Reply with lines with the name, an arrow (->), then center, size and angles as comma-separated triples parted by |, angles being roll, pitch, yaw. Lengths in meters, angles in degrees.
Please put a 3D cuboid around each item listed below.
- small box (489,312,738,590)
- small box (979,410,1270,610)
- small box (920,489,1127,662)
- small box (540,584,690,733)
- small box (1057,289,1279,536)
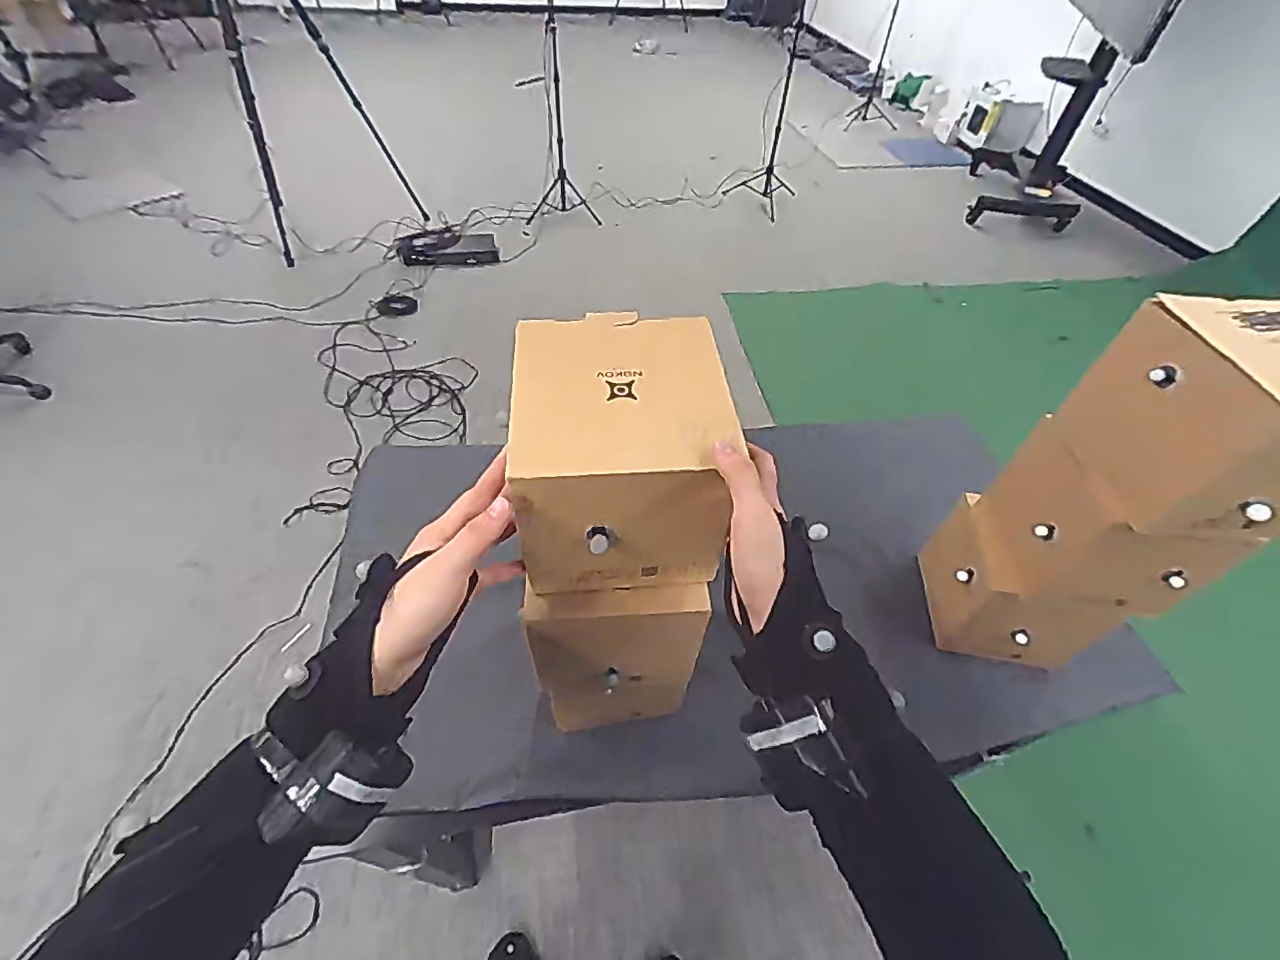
small box -> -0.025, -0.018, 0.459 | 0.168, 0.176, 0.179 | -4, 52, -5
small box -> 0.560, 0.040, 0.660 | 0.168, 0.176, 0.179 | 6, 47, 1
small box -> 0.534, 0.141, 0.785 | 0.168, 0.176, 0.179 | 9, 47, 5
small box -> -0.041, 0.206, 0.710 | 0.168, 0.176, 0.179 | -6, 49, -8
small box -> 0.573, -0.066, 0.534 | 0.168, 0.176, 0.179 | 1, 49, -2
